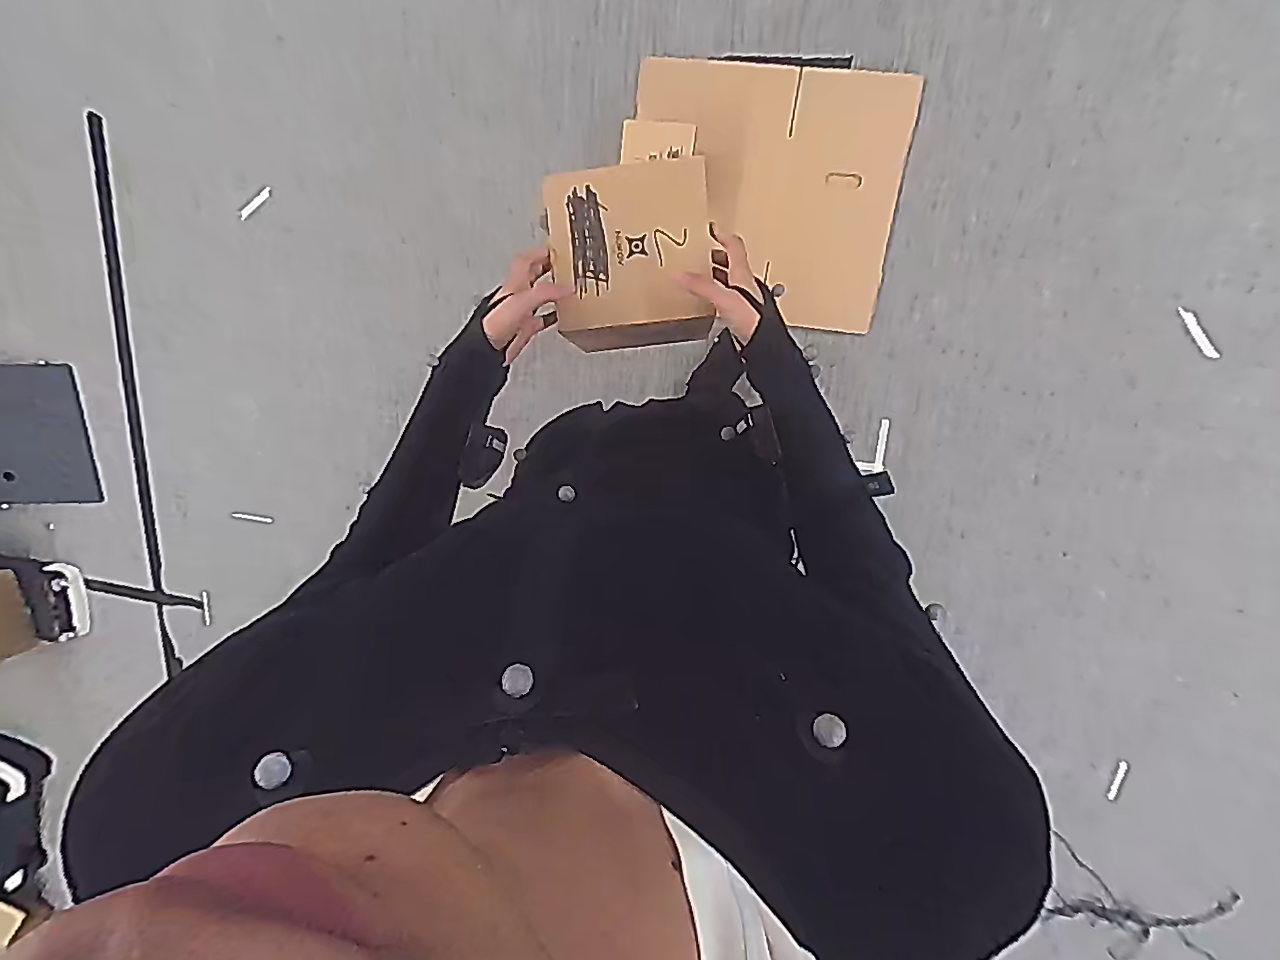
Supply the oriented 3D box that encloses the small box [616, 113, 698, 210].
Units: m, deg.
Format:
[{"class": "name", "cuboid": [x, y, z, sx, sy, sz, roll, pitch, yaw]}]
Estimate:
[{"class": "small box", "cuboid": [0.048, -0.787, 1.351, 0.179, 0.176, 0.168, 9, 105, 7]}]
